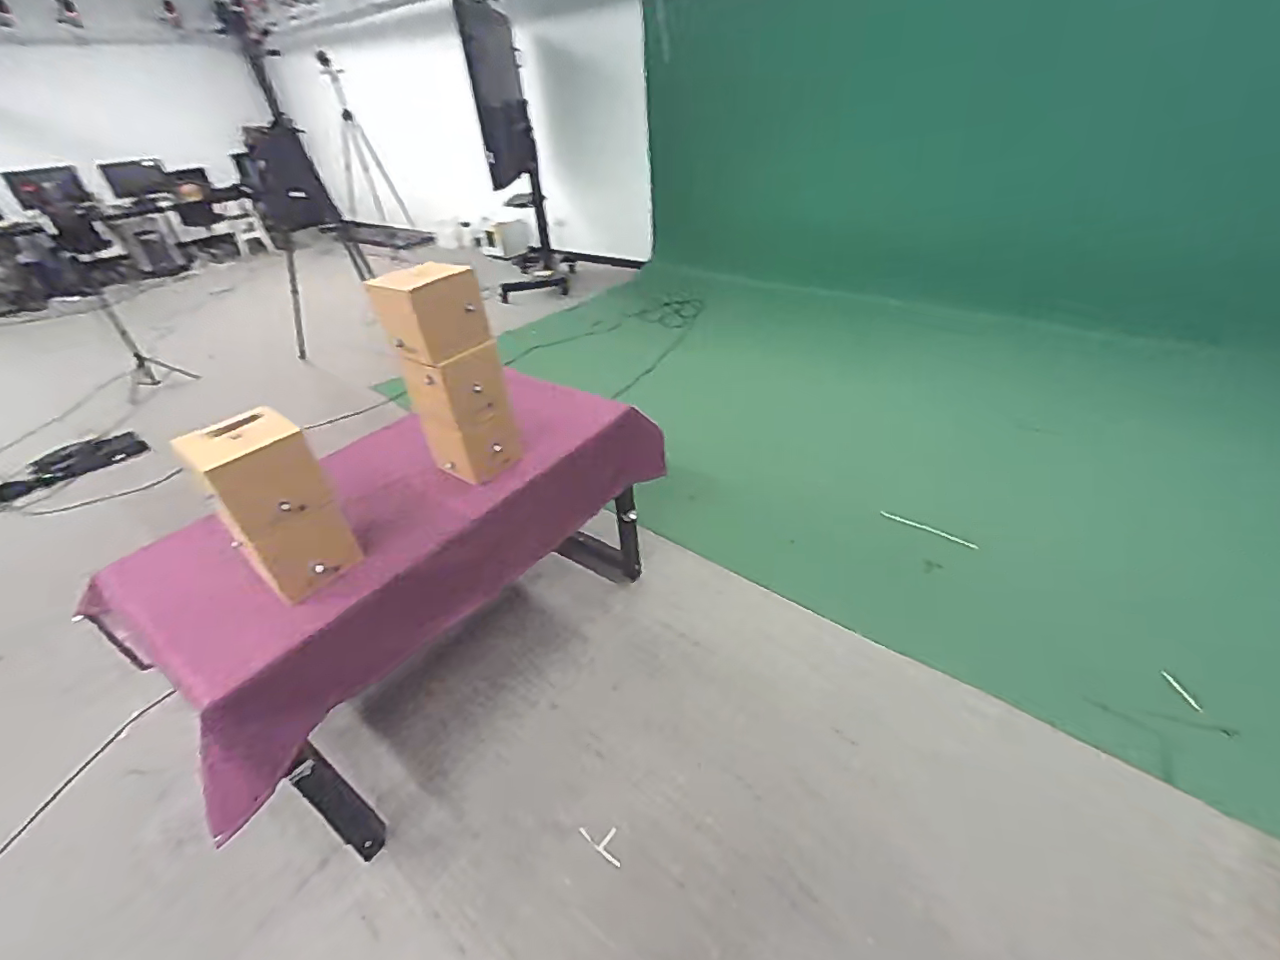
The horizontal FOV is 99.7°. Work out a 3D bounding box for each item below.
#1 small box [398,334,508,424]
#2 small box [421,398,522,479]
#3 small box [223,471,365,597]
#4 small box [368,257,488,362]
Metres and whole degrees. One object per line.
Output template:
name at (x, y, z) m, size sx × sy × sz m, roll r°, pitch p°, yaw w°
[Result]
small box at (-0.446, -0.255, 1.314) m, size 0.179 × 0.176 × 0.168 m, roll 21°, pitch 44°, yaw 32°
small box at (-0.432, -0.125, 1.415) m, size 0.179 × 0.176 × 0.168 m, roll 23°, pitch 44°, yaw 31°
small box at (-0.714, 0.112, 1.128) m, size 0.179 × 0.176 × 0.168 m, roll 24°, pitch 45°, yaw 32°
small box at (-0.465, -0.386, 1.217) m, size 0.168 × 0.176 × 0.179 m, roll 21°, pitch 44°, yaw 32°
